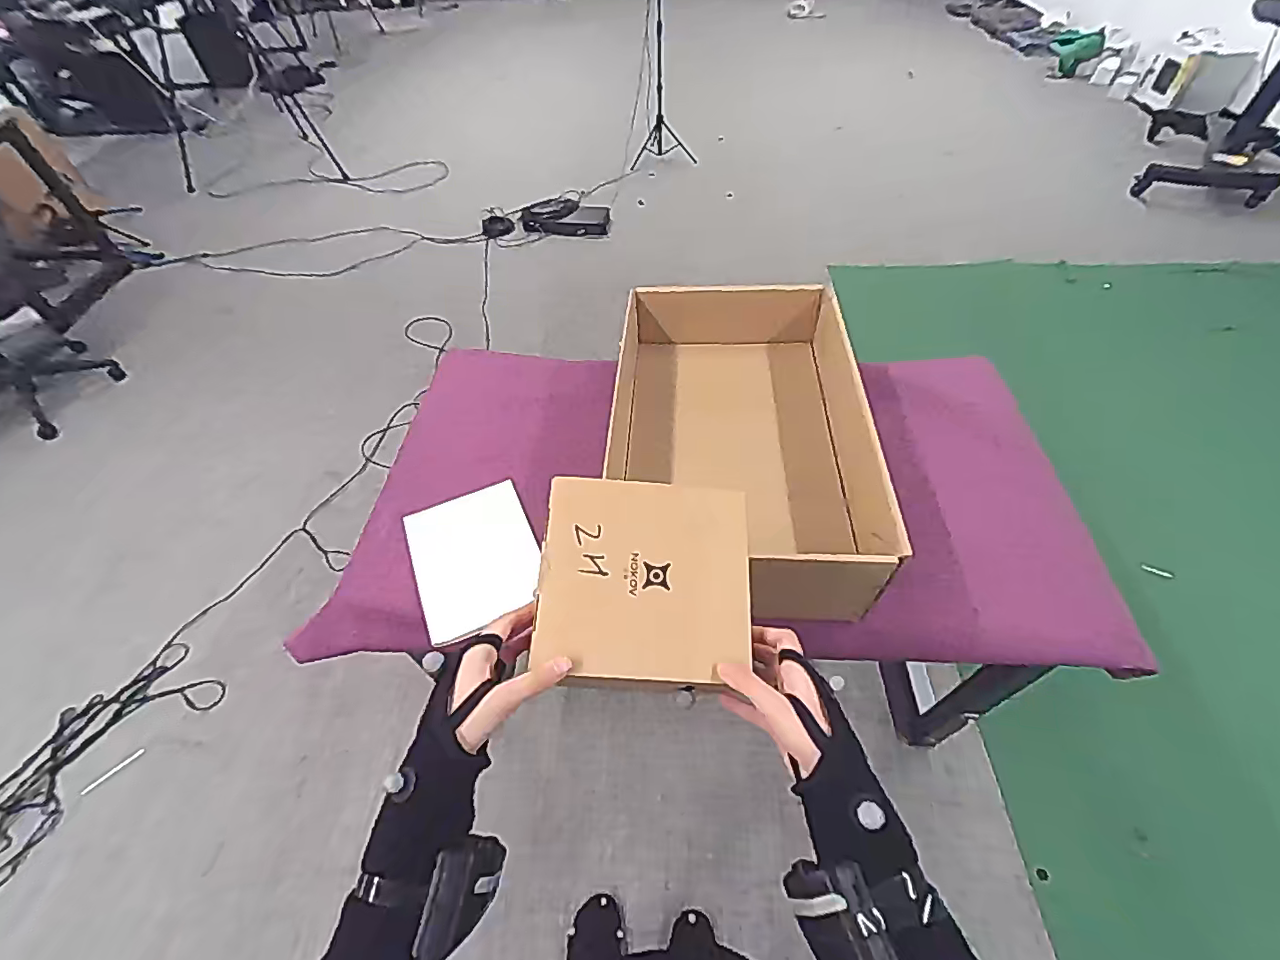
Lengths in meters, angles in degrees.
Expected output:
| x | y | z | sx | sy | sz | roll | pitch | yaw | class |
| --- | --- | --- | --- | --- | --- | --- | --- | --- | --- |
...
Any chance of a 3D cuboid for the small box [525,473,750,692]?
| x | y | z | sx | sy | sz | roll | pitch | yaw | class |
| --- | --- | --- | --- | --- | --- | --- | --- | --- | --- |
| -0.003 | 0.107 | 0.516 | 0.179 | 0.176 | 0.168 | 5 | 65 | -2 | small box |
